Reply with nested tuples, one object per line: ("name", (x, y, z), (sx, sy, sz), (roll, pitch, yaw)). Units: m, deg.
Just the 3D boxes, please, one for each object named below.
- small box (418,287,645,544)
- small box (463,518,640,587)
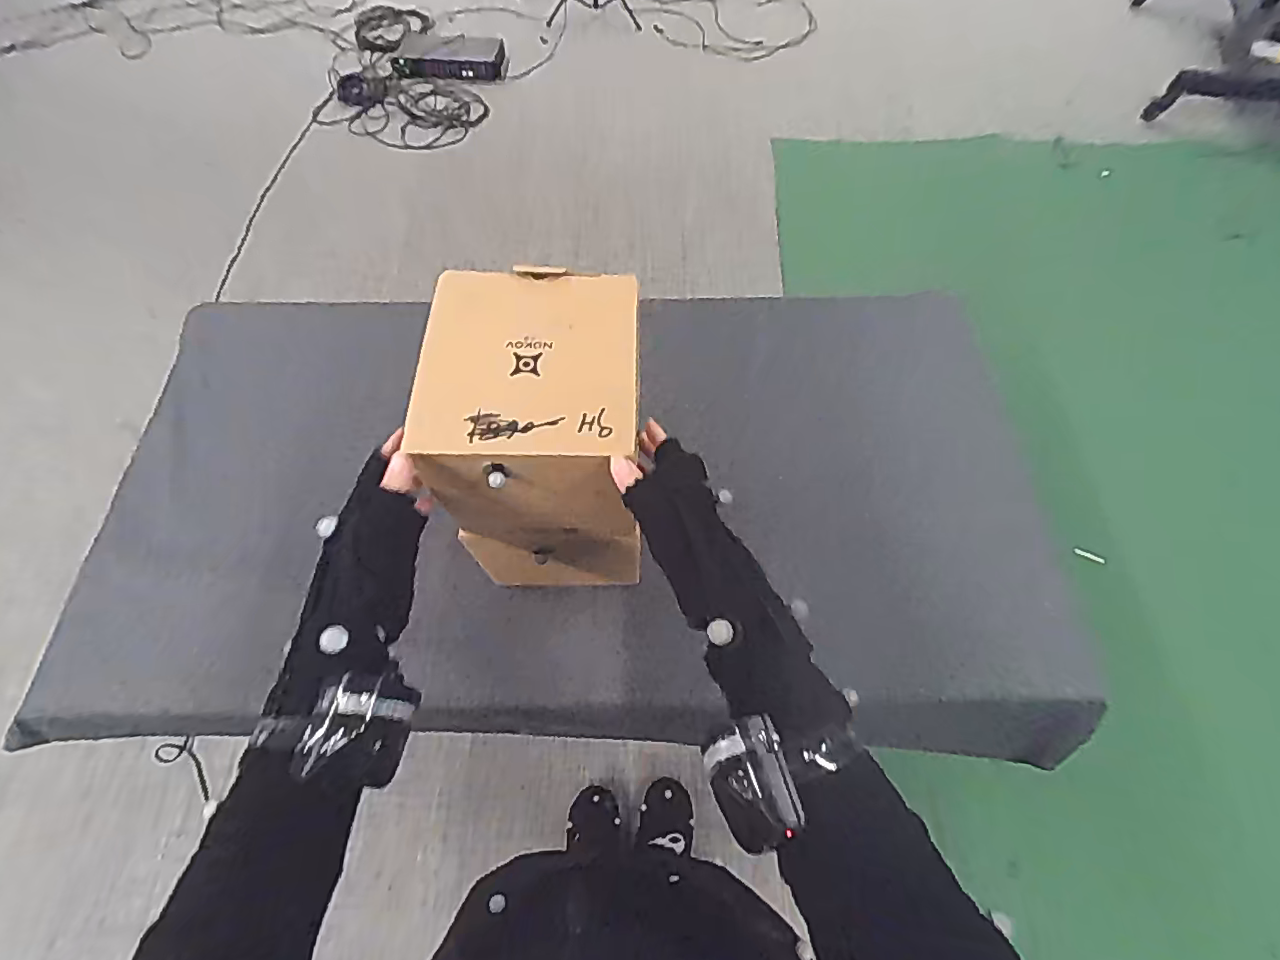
("small box", (-0.083, -0.052, 0.497), (0.168, 0.176, 0.179), (-1, 63, -2))
("small box", (-0.089, 0.025, 0.639), (0.179, 0.176, 0.168), (0, 63, -1))
